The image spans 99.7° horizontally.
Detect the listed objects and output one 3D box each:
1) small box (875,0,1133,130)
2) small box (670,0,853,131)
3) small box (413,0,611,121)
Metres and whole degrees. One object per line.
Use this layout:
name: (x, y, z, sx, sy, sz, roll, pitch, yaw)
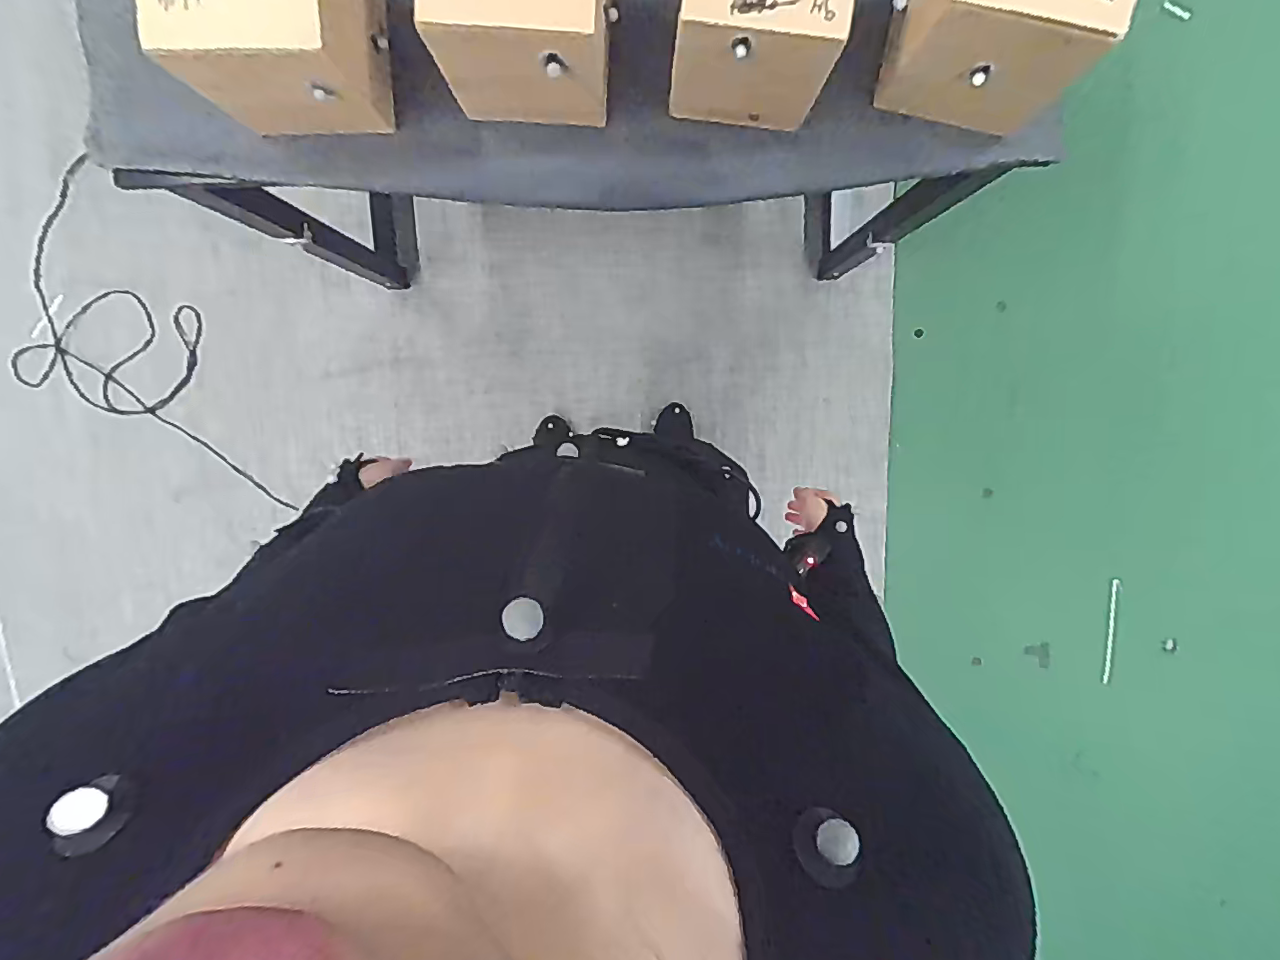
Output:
small box: (0.388, -0.516, 0.583, 0.179, 0.176, 0.168, 12, 94, -1)
small box: (0.127, -0.523, 0.585, 0.168, 0.176, 0.179, 7, 96, -1)
small box: (-0.124, -0.519, 0.584, 0.179, 0.176, 0.168, 4, 97, 0)
